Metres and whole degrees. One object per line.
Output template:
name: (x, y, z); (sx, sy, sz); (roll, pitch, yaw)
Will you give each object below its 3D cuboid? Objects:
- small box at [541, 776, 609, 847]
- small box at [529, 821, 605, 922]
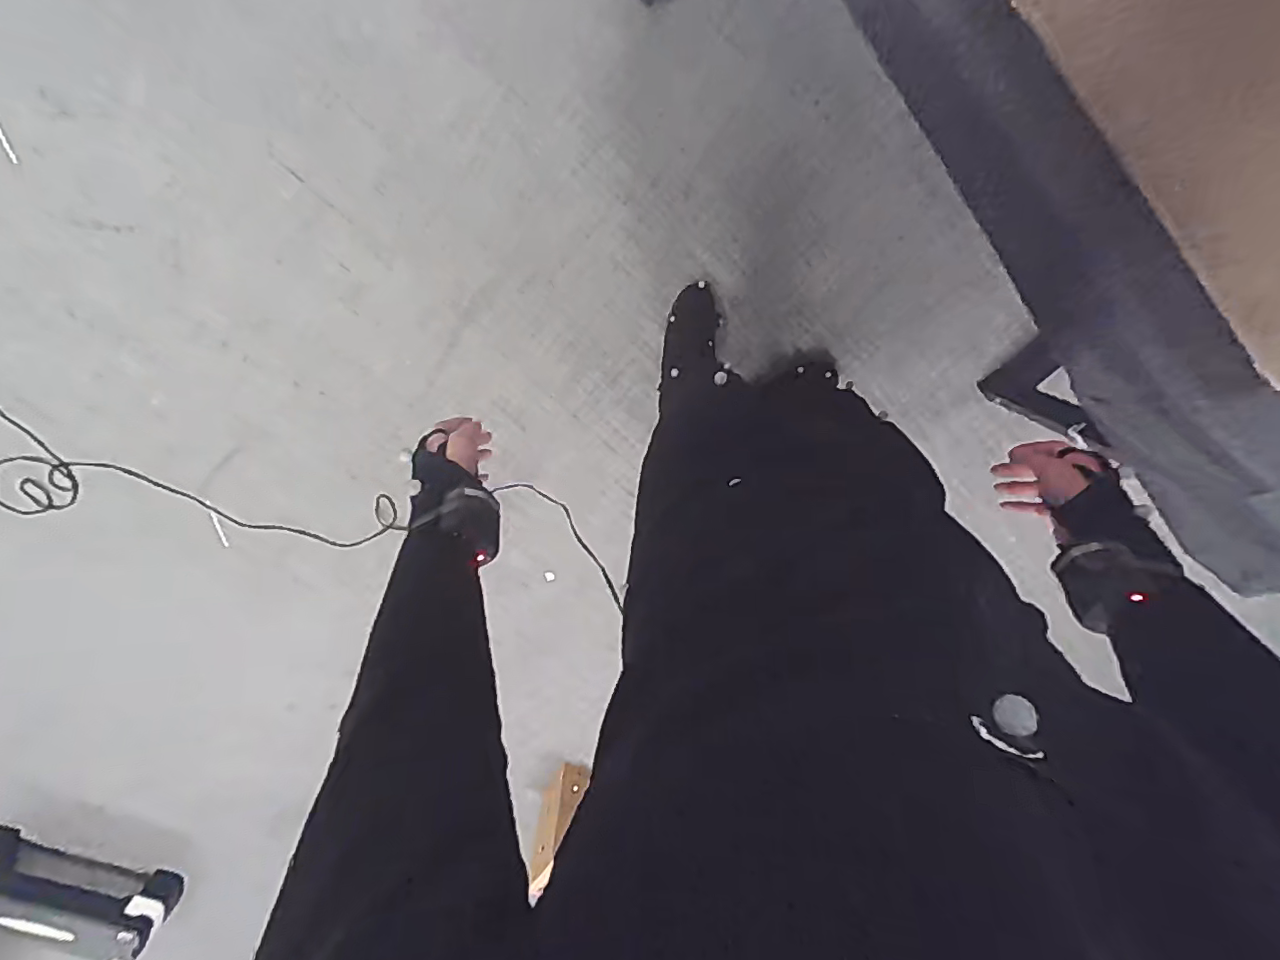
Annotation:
small box: (-0.213, 1.136, 1.814); (0.168, 0.176, 0.179); (28, 113, -11)
small box: (-0.217, 1.198, 1.661); (0.168, 0.176, 0.179); (28, 110, -12)
